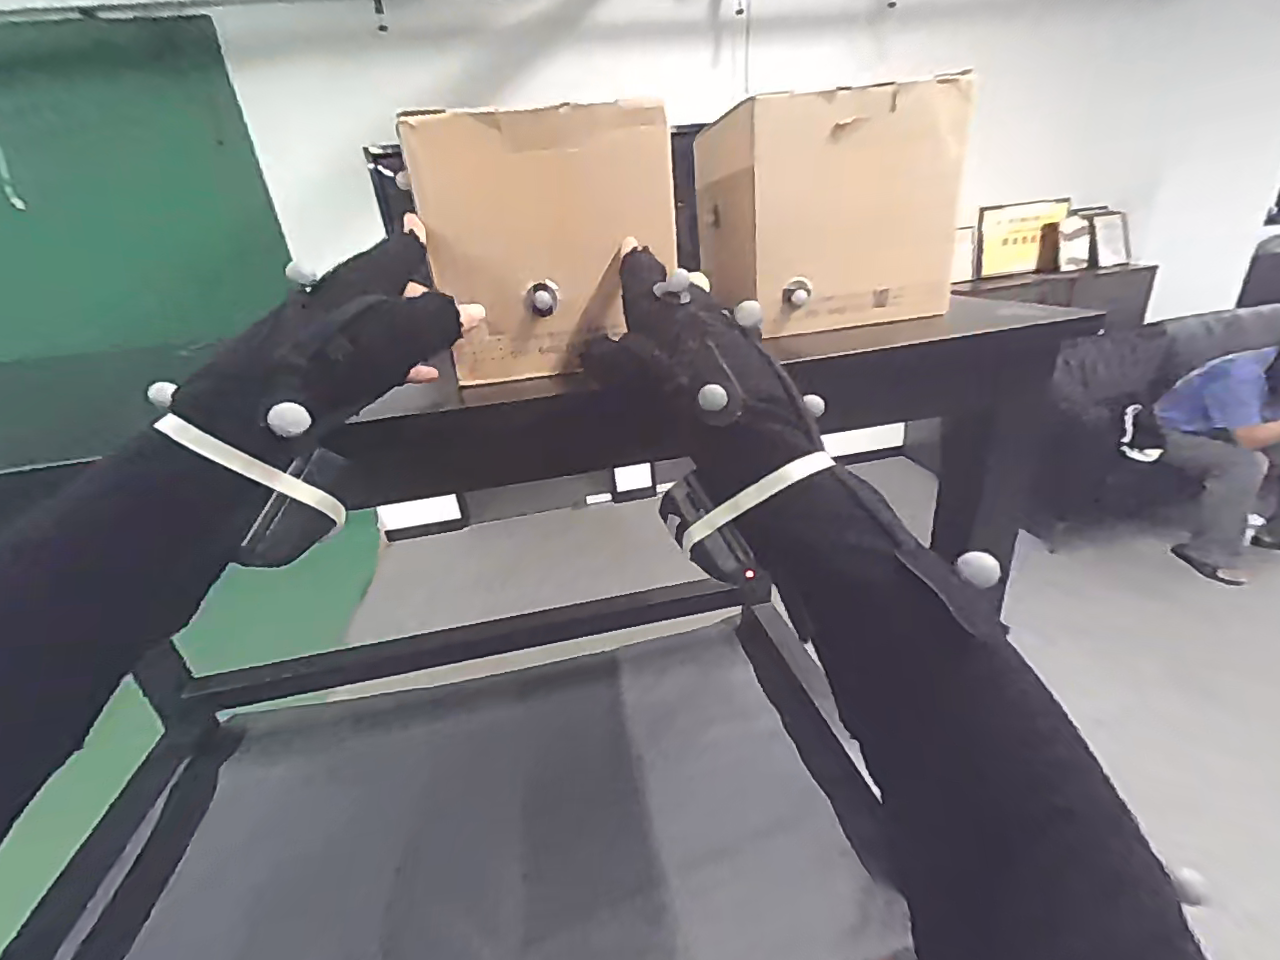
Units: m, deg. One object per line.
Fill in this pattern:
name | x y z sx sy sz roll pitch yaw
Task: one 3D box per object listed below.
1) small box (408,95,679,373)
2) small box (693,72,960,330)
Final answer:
small box | -0.069 -0.190 0.443 0.168 0.176 0.179 -9 24 -7
small box | 0.152 -0.236 0.490 0.168 0.176 0.179 -9 23 -5
